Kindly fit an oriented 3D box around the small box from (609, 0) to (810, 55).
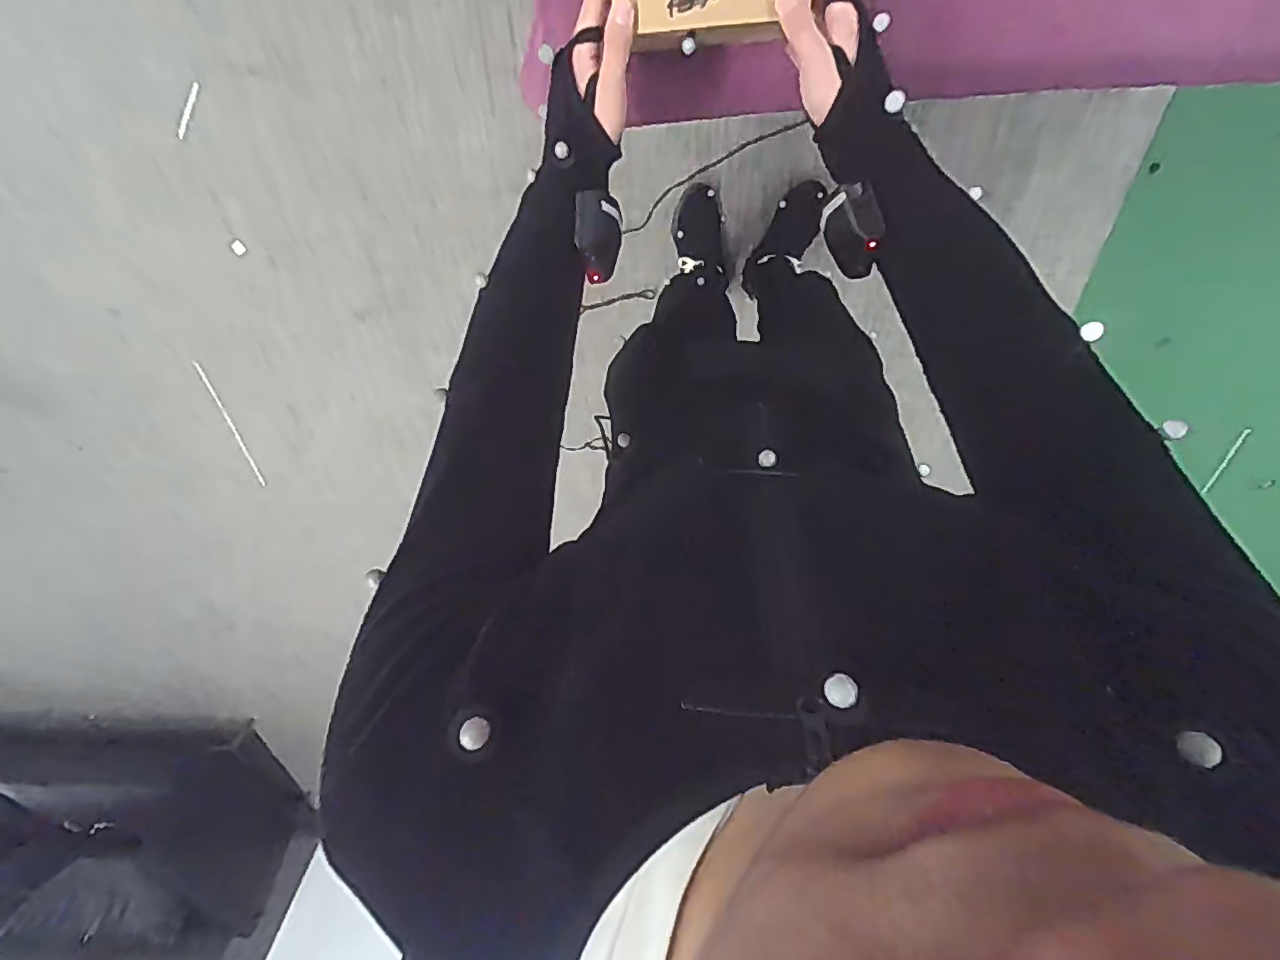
[{"bbox_3d":[0.055,-0.488,0.466,0.168,0.176,0.179,-2,126,4],"label":"small box"}]
